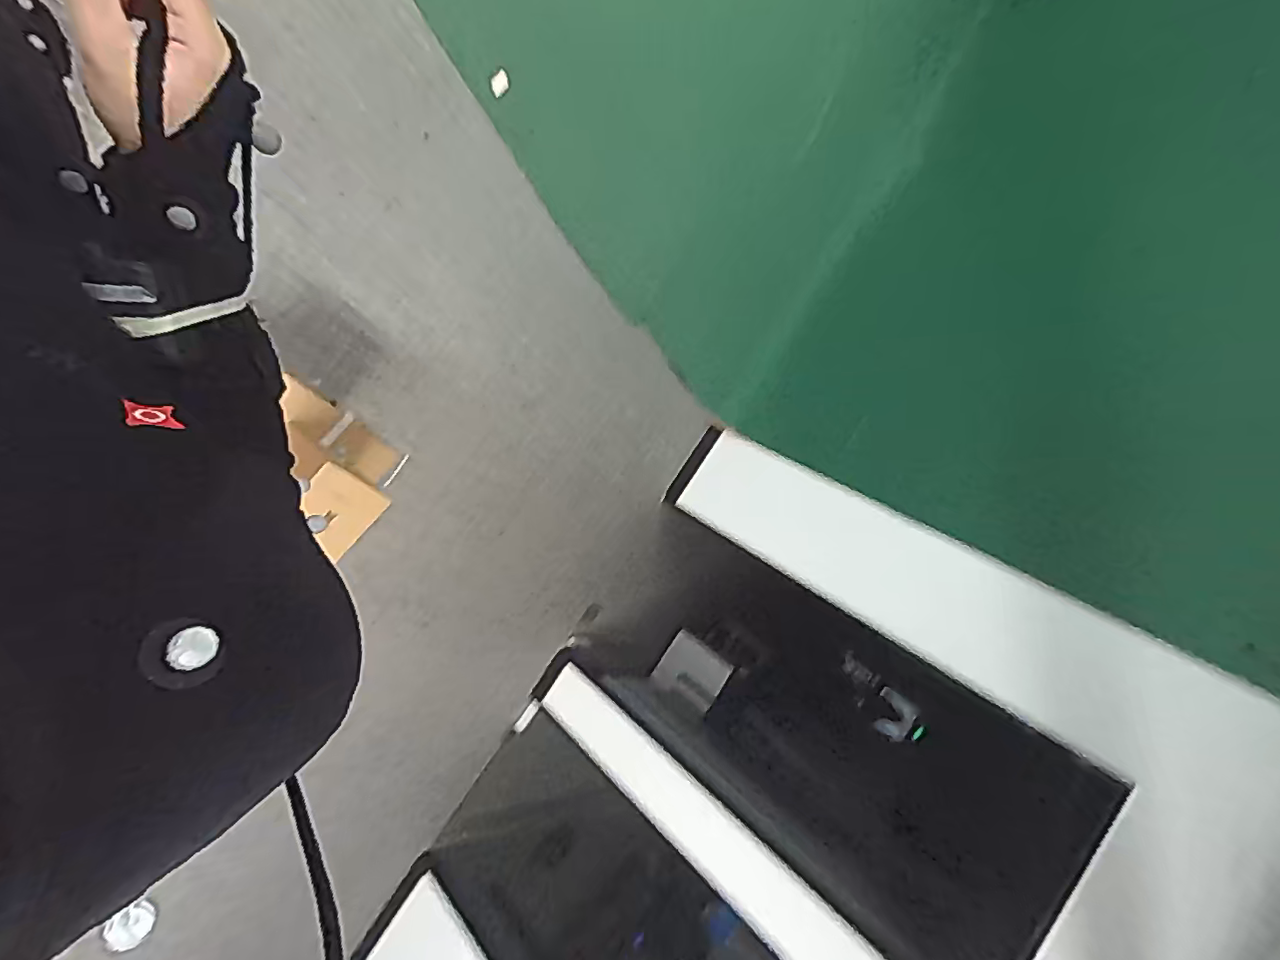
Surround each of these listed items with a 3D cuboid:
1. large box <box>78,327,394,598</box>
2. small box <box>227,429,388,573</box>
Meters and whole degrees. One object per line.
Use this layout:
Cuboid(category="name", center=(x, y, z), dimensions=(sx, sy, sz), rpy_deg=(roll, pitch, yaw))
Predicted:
Cuboid(category="large box", center=(-0.823, -0.036, 1.131), dimensions=(0.408, 0.320, 0.320), rpy_deg=(-51, 147, -10))
Cuboid(category="small box", center=(-0.622, 0.038, 1.008), dimensions=(0.179, 0.176, 0.168), rpy_deg=(-52, 150, -12))
